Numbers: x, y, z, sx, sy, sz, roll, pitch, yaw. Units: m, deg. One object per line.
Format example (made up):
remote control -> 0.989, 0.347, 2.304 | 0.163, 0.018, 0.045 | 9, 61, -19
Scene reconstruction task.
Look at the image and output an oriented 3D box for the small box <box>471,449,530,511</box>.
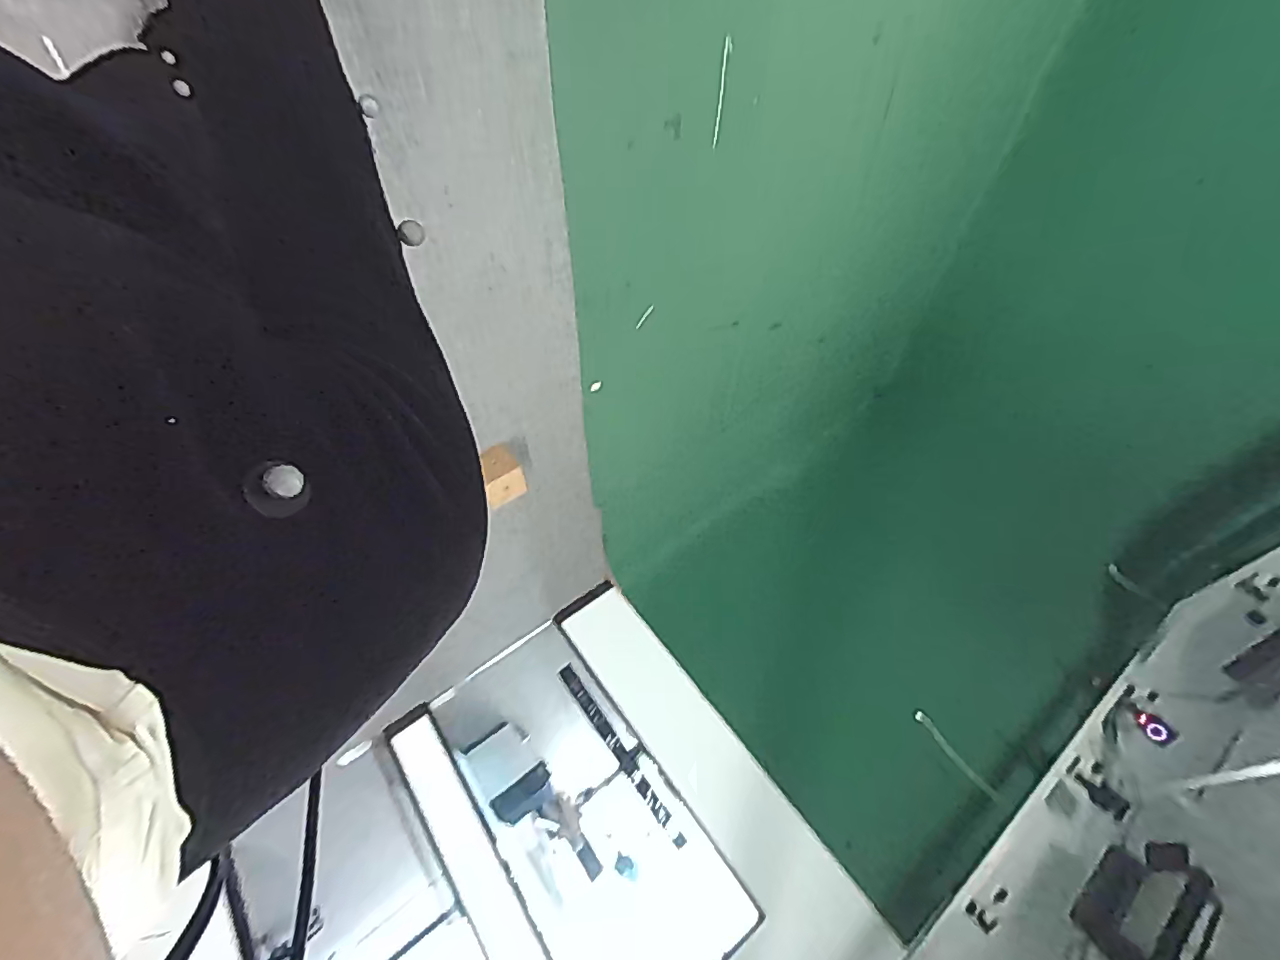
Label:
small box -> -0.589, -0.007, 2.282 | 0.168, 0.176, 0.179 | -31, 149, -20
